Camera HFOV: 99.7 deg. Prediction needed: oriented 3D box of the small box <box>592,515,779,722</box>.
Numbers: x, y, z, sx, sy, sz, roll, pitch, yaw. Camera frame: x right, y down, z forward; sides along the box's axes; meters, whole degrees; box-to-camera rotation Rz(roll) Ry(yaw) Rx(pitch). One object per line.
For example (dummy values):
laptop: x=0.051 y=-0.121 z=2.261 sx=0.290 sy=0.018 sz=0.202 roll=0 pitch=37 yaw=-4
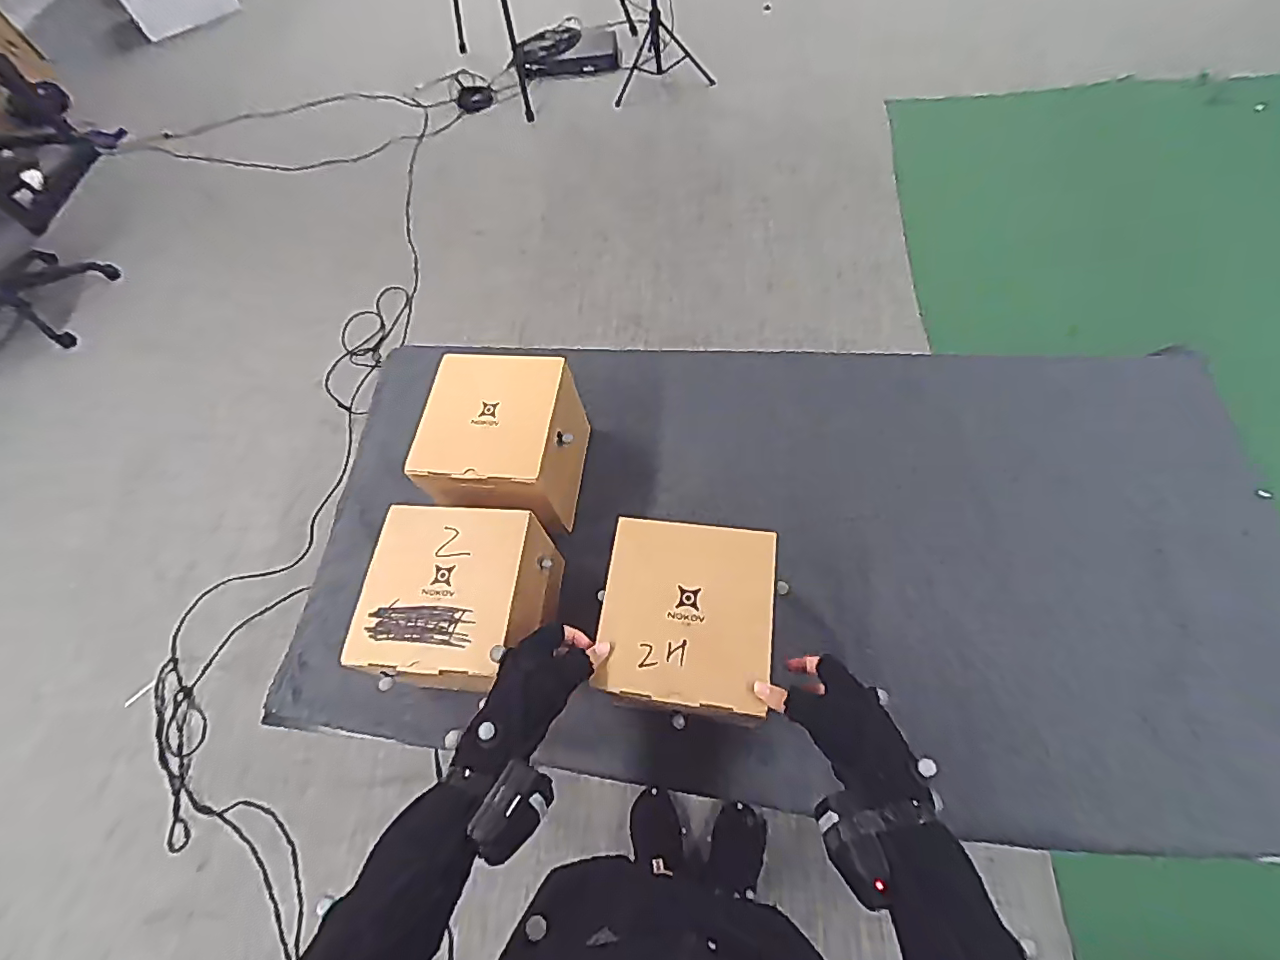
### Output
small box: x=0.055 y=0.157 z=0.596 sx=0.168 sy=0.176 sz=0.179 roll=5 pitch=65 yaw=9

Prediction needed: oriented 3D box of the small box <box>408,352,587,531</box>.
small box: x=-0.174 y=-0.047 z=0.726 sx=0.168 sy=0.176 sz=0.179 roll=4 pitch=65 yaw=9
